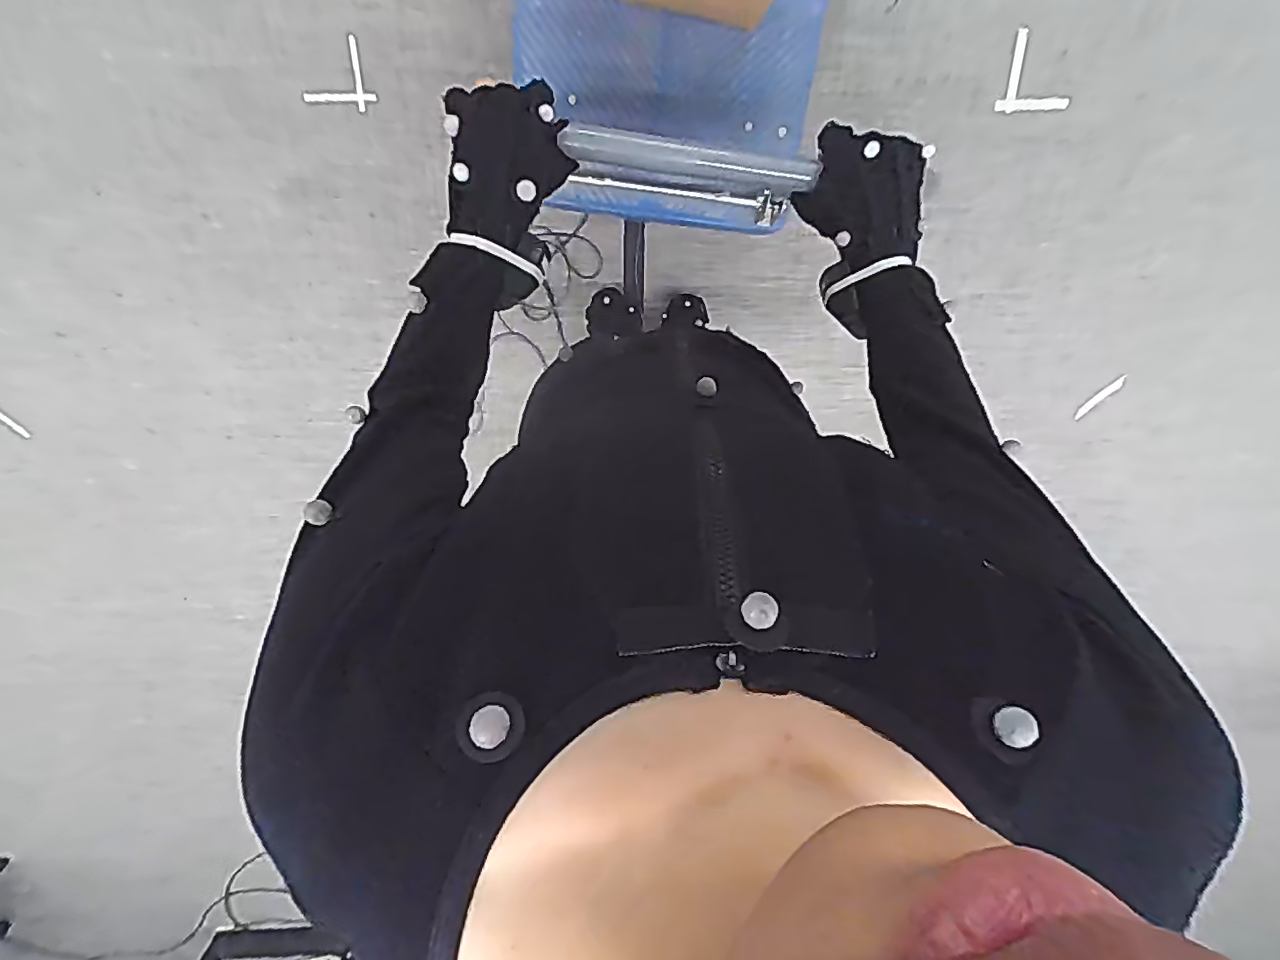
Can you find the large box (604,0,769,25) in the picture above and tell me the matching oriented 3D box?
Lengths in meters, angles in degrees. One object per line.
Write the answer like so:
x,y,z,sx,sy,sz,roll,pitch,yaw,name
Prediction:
0.046,-0.970,0.826,0.408,0.320,0.320,7,111,-5,large box
